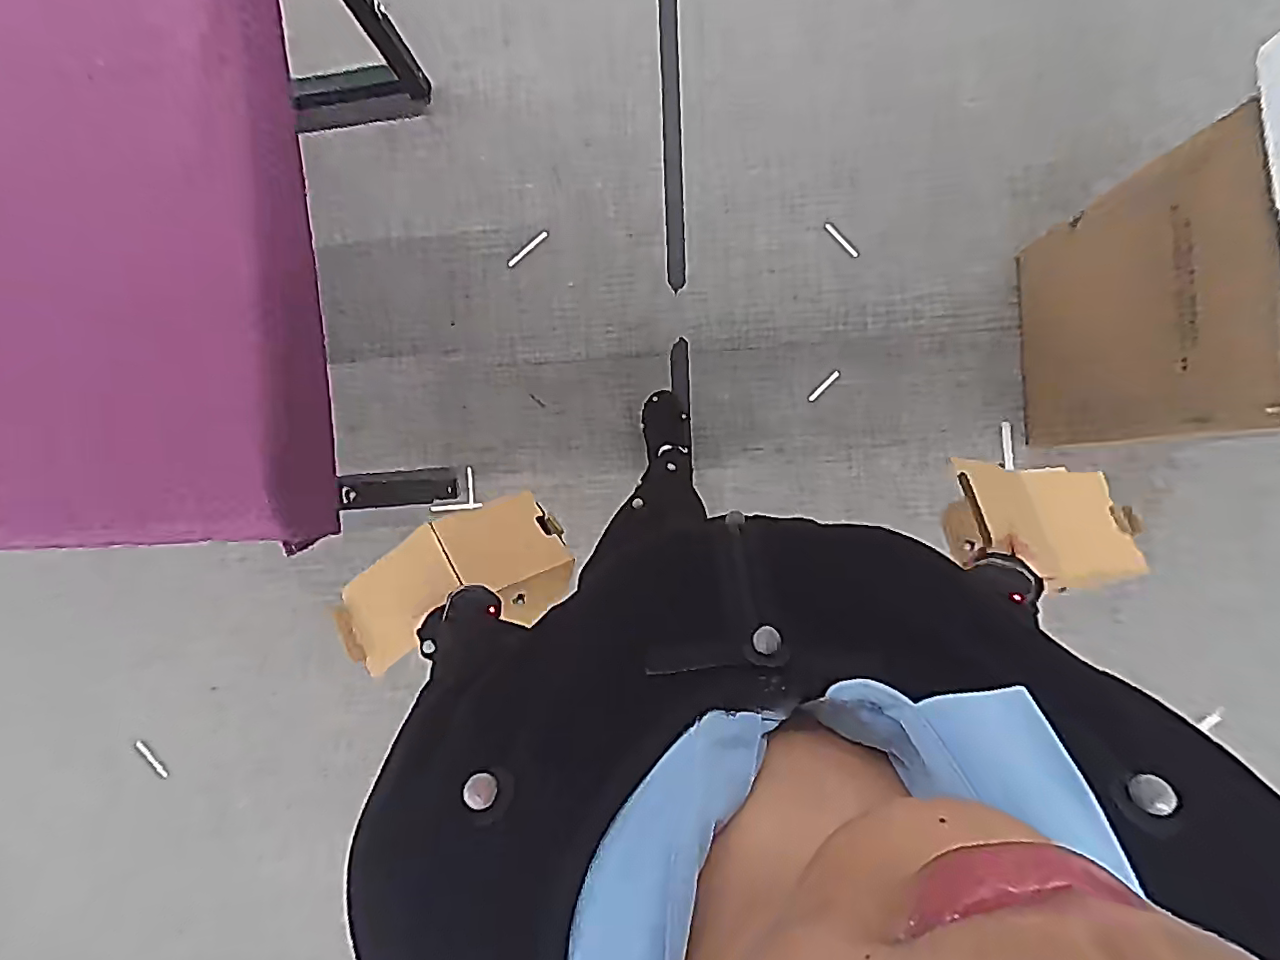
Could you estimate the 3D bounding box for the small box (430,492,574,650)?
[{"bbox_3d":[-0.232,0.151,0.898,0.179,0.176,0.168,-18,54,-33],"label":"small box"}]
